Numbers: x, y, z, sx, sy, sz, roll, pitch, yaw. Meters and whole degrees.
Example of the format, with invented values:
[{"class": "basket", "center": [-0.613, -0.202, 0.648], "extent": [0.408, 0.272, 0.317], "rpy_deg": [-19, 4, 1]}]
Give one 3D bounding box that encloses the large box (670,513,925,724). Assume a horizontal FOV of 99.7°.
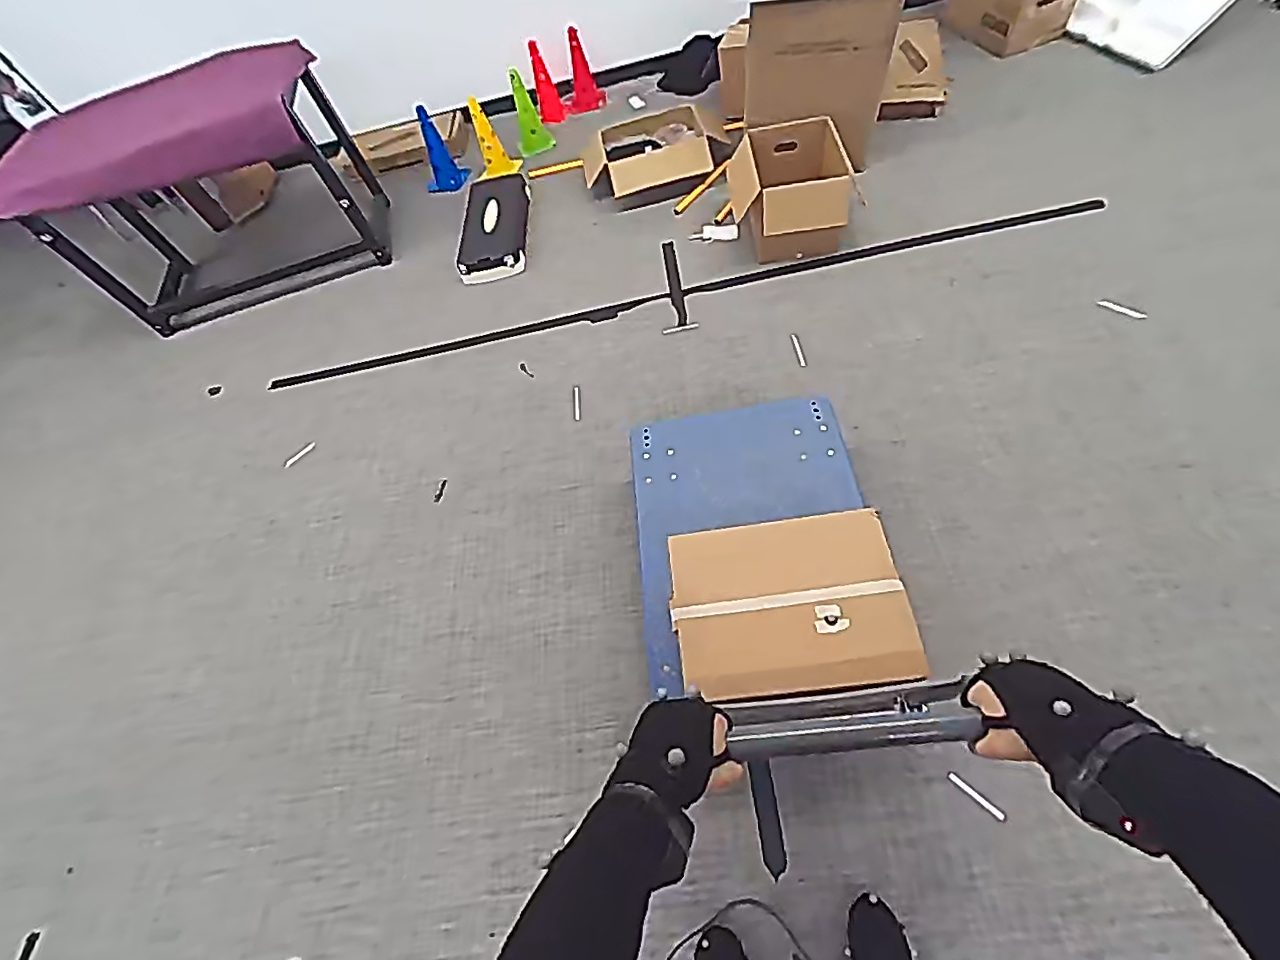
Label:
[{"class": "large box", "center": [0.290, 0.300, 1.116], "extent": [0.408, 0.320, 0.320], "rpy_deg": [-9, 60, 5]}]
